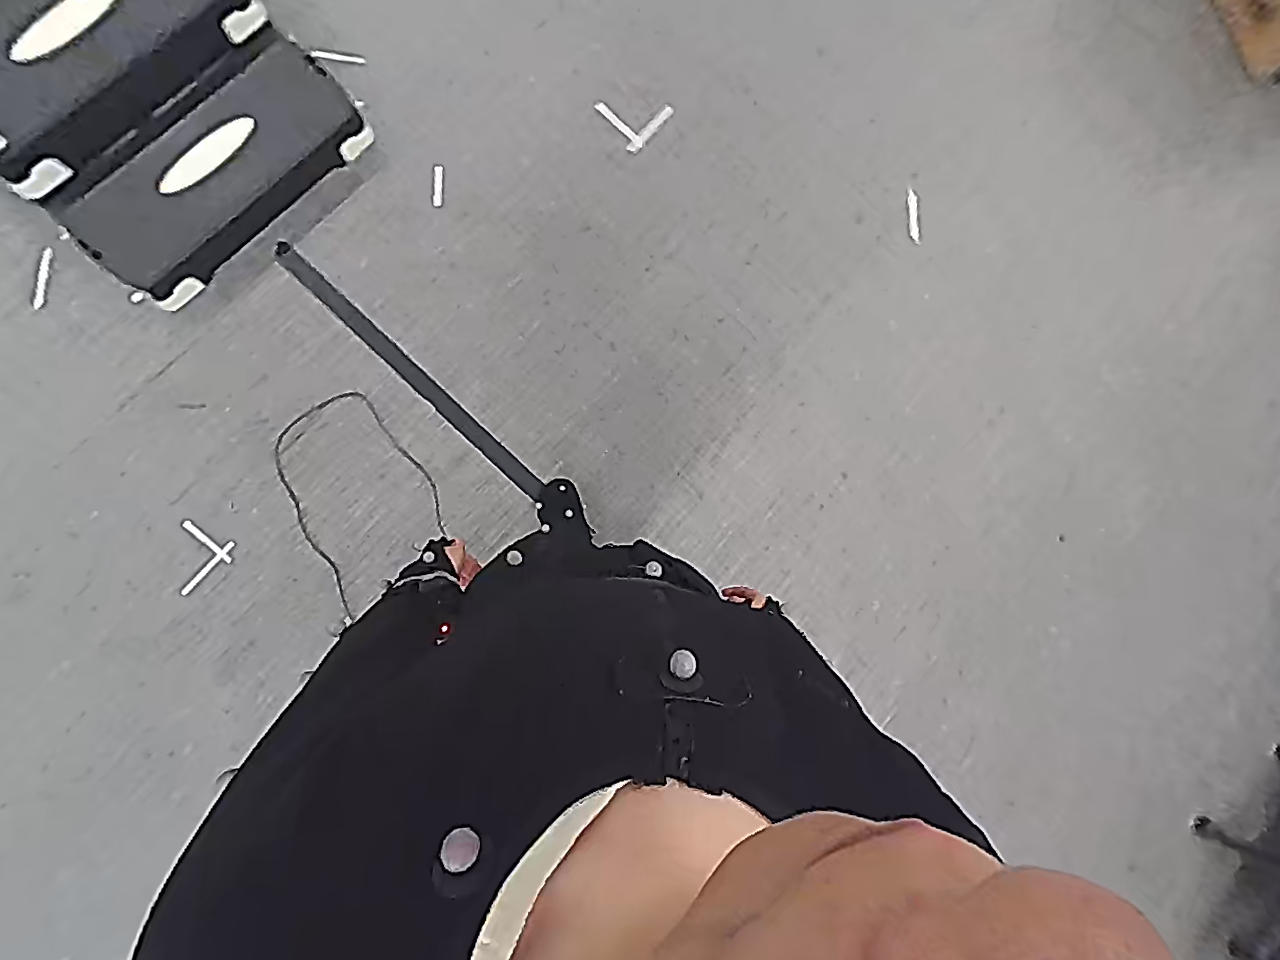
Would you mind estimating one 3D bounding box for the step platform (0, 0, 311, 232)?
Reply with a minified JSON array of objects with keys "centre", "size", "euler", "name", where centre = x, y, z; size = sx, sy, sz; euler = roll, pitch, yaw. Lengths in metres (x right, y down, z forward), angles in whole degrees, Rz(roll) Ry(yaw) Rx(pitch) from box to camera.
[{"centre":[-1.140,-0.894,1.229],"size":[0.684,0.204,0.286],"euler":[-43,92,-10],"name":"step platform"}]
